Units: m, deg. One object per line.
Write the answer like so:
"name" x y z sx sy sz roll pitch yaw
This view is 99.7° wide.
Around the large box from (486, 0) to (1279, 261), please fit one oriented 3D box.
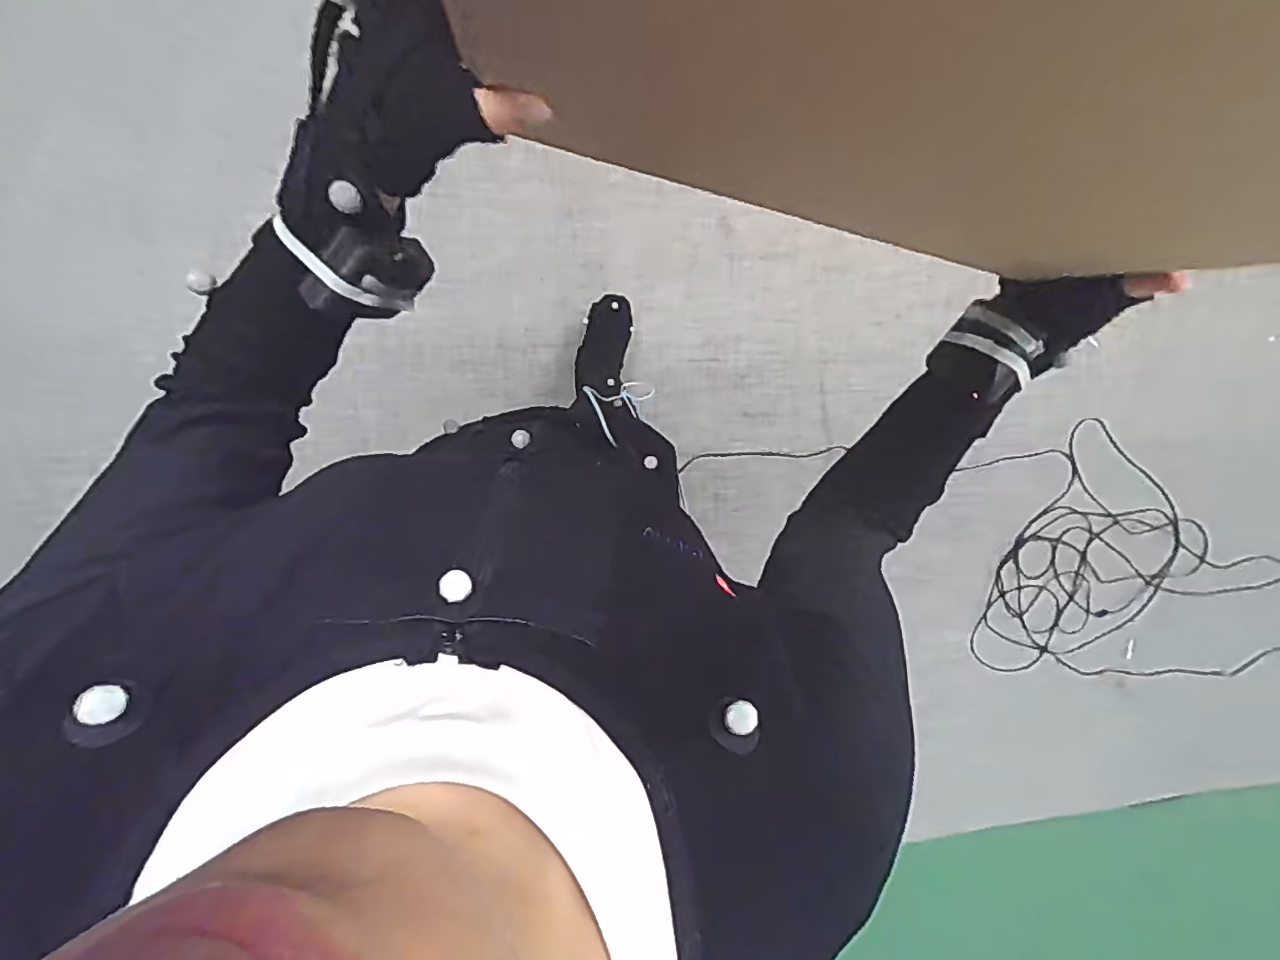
"large box" 0.163 -0.288 0.184 0.408 0.320 0.320 8 106 -15
